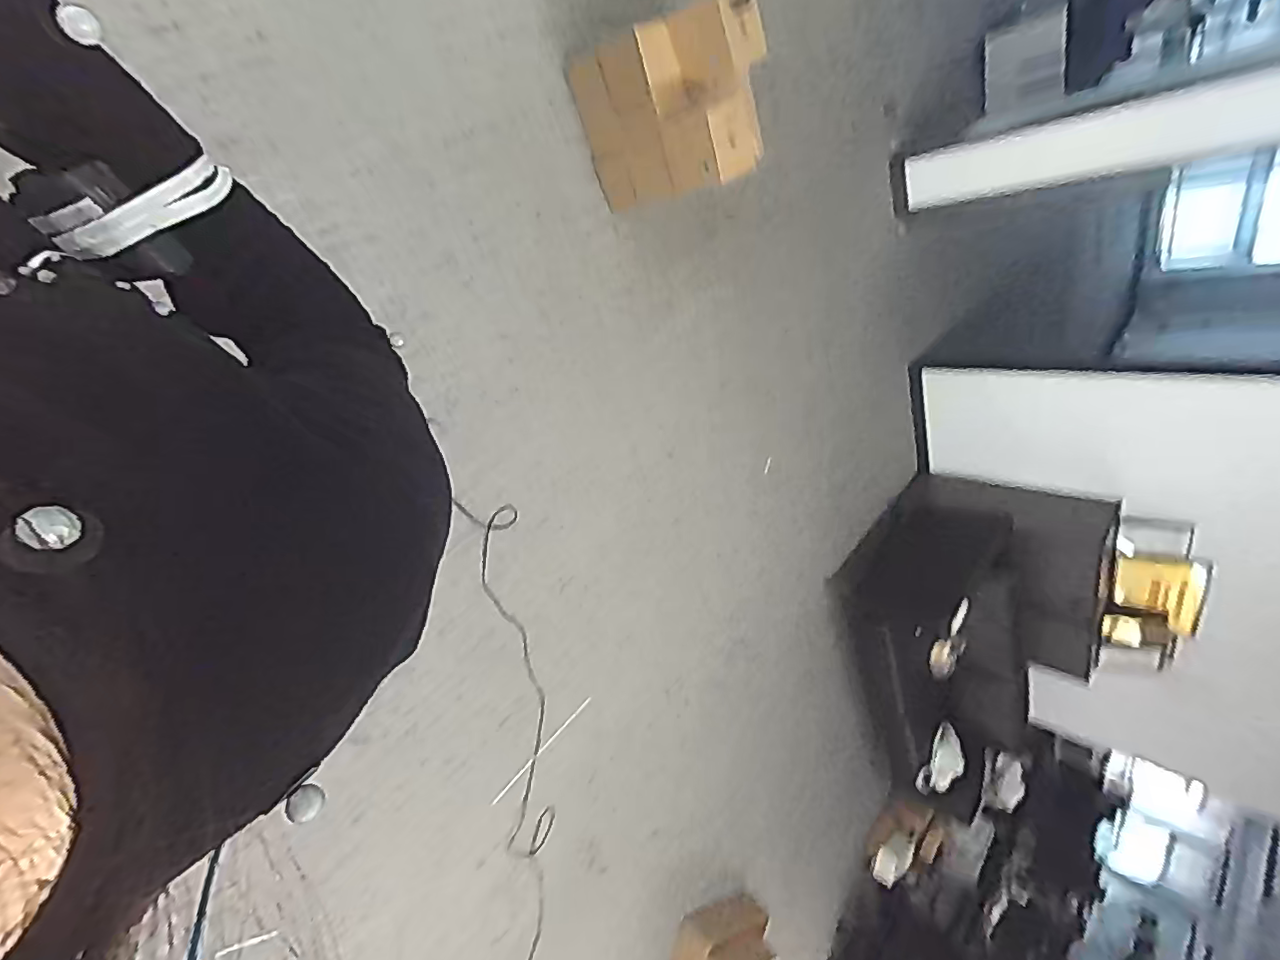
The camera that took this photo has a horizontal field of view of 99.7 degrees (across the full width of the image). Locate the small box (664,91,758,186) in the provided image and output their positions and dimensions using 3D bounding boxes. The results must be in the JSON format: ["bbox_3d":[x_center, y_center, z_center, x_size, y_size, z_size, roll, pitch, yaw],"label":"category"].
[{"bbox_3d":[0.192,-0.919,1.470,0.168,0.176,0.179,-40,126,-29],"label":"small box"}]
